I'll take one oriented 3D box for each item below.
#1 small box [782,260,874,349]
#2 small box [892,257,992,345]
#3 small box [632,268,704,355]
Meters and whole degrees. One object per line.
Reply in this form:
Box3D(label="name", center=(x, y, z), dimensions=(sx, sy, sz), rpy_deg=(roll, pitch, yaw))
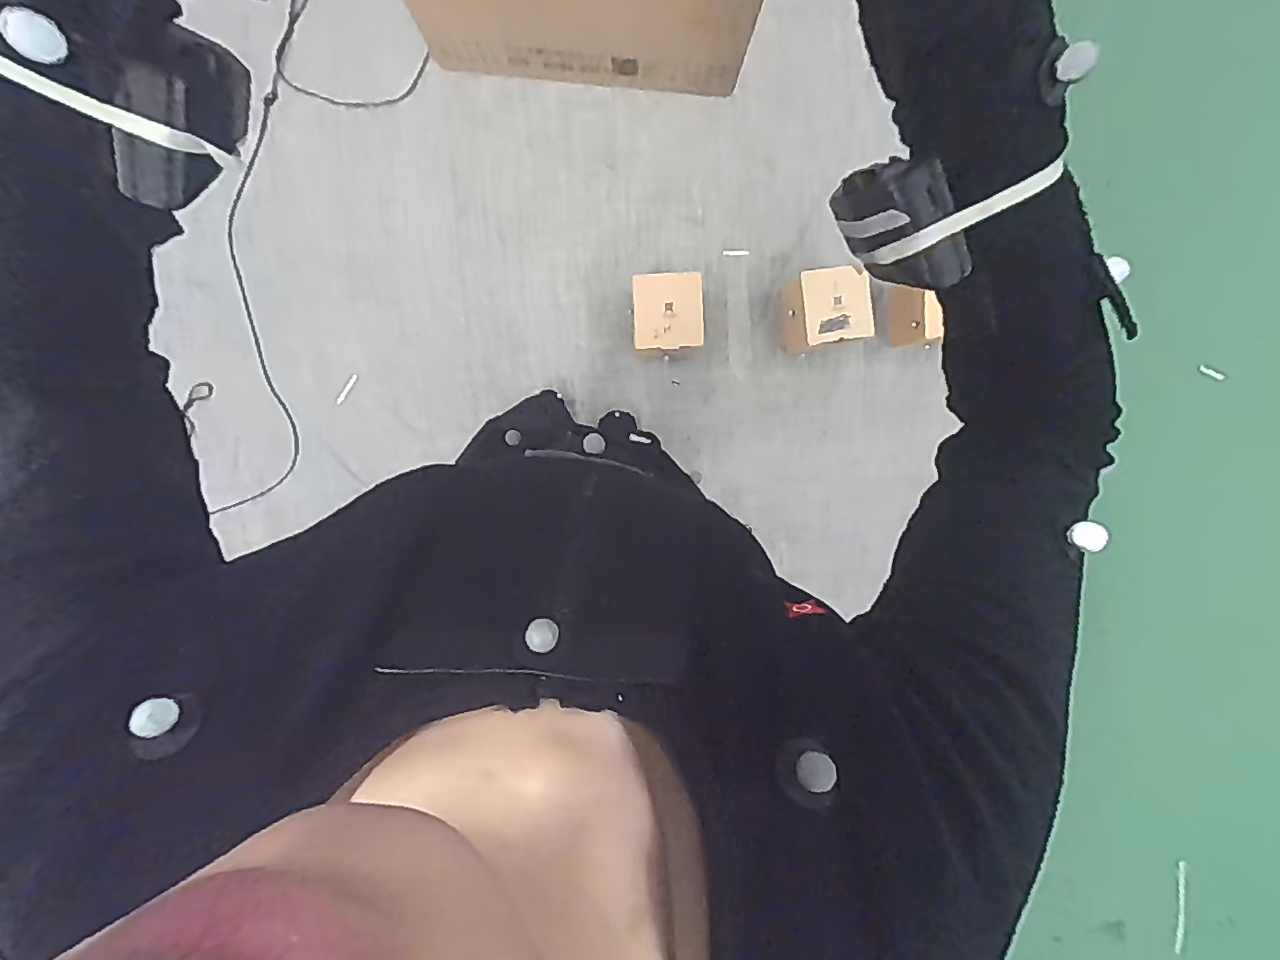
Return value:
Box3D(label="small box", center=(0.468, -0.434, 1.365), dimensions=(0.168, 0.176, 0.179), rpy_deg=(-8, 95, -2))
Box3D(label="small box", center=(0.760, -0.448, 1.376), dimensions=(0.168, 0.176, 0.179), rpy_deg=(-4, 96, -1))
Box3D(label="small box", center=(0.066, -0.415, 1.350), dimensions=(0.168, 0.176, 0.179), rpy_deg=(-3, 96, -1))
